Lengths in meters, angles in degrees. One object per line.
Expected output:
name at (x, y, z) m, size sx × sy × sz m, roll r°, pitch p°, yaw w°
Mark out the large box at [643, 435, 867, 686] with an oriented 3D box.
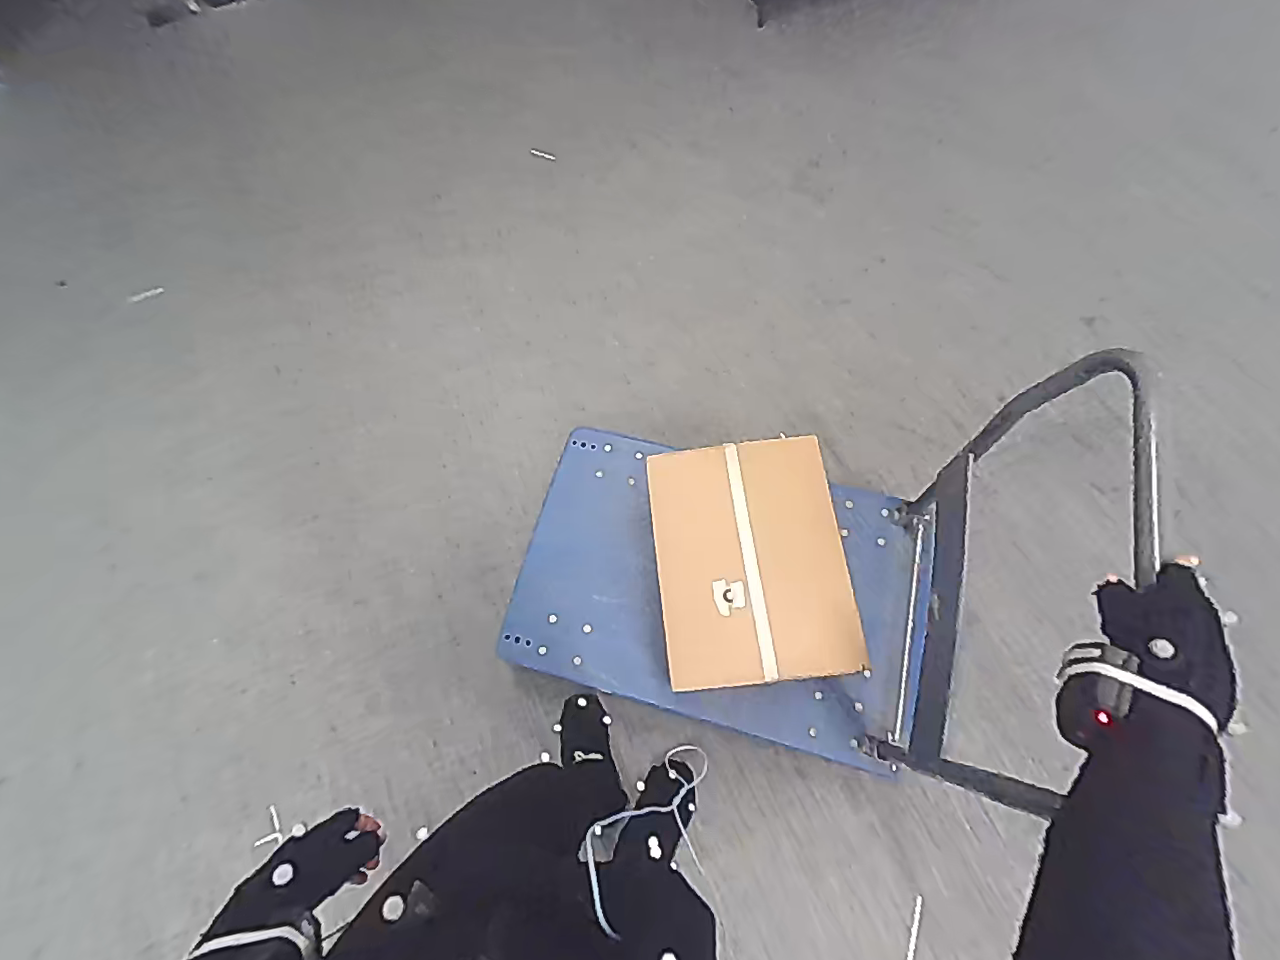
large box at (0.191, 0.169, 1.062) m, size 0.320 × 0.320 × 0.408 m, roll -8°, pitch 70°, yaw 2°
